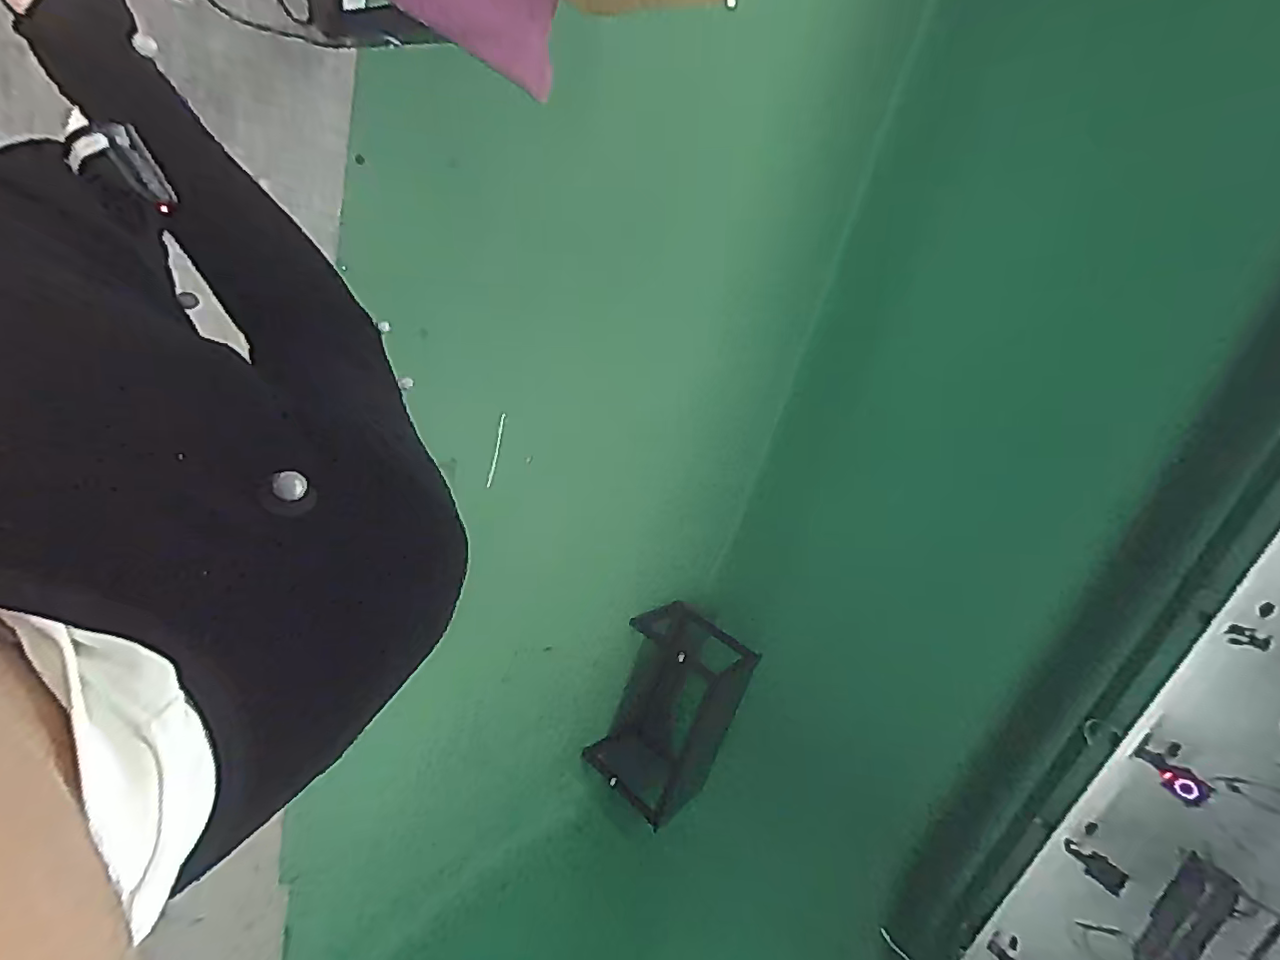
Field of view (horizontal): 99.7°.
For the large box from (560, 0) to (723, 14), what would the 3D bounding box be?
[{"bbox_3d":[-0.033,-0.899,0.665,0.320,0.320,0.408,-6,120,-51],"label":"large box"}]
